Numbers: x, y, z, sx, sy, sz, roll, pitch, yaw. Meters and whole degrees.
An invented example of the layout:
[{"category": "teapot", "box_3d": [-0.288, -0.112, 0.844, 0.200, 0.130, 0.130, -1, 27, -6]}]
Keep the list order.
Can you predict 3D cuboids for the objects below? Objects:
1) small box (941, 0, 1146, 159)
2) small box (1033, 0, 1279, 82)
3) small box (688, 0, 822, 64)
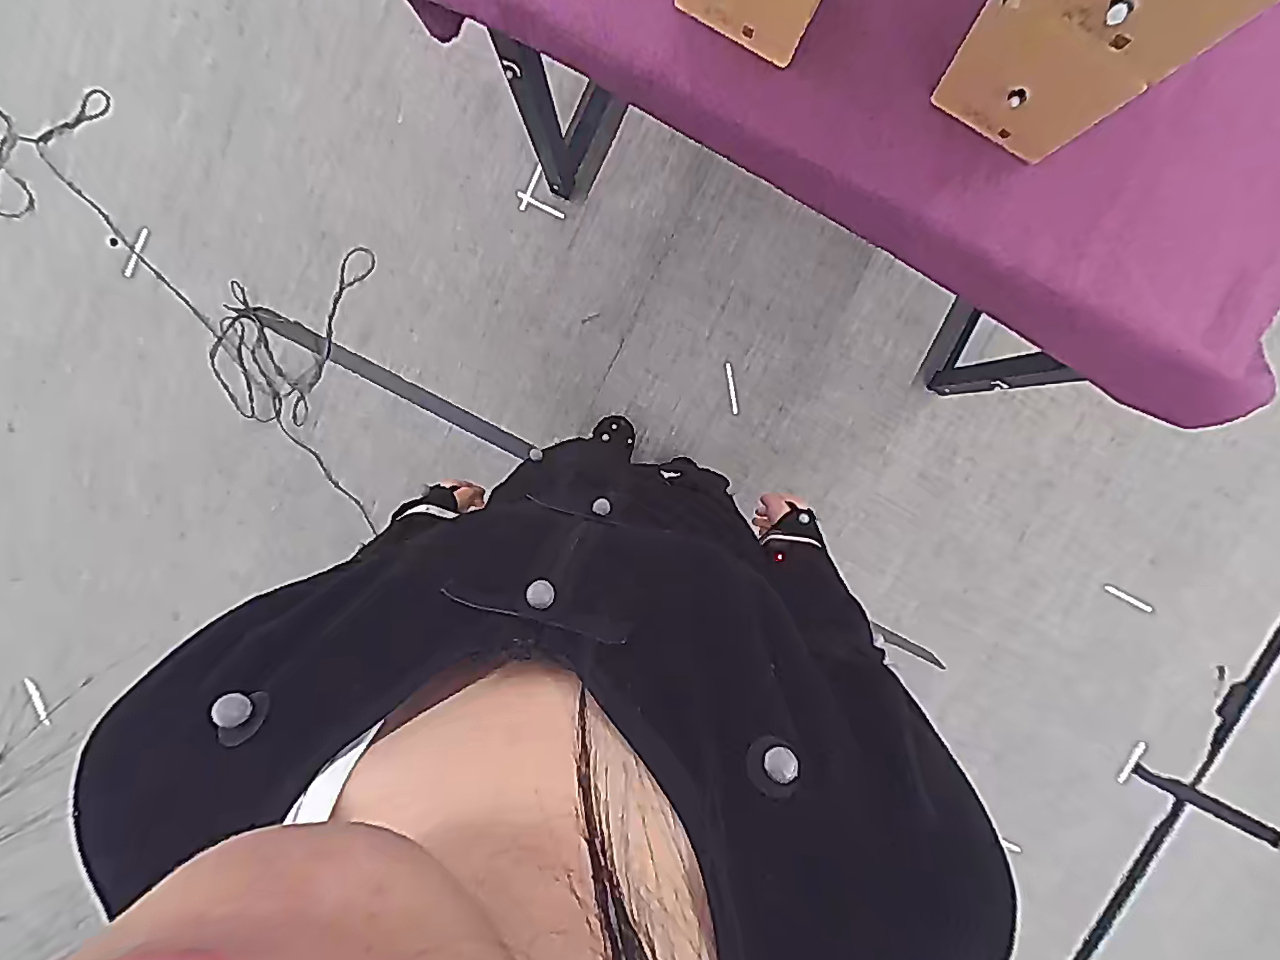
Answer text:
[{"category": "small box", "box_3d": [0.493, -0.524, 0.630, 0.168, 0.176, 0.179, 30, 94, -3]}, {"category": "small box", "box_3d": [0.498, -0.510, 0.467, 0.168, 0.176, 0.179, 29, 95, -3]}, {"category": "small box", "box_3d": [0.158, -0.640, 0.619, 0.168, 0.176, 0.179, 28, 94, -3]}]
